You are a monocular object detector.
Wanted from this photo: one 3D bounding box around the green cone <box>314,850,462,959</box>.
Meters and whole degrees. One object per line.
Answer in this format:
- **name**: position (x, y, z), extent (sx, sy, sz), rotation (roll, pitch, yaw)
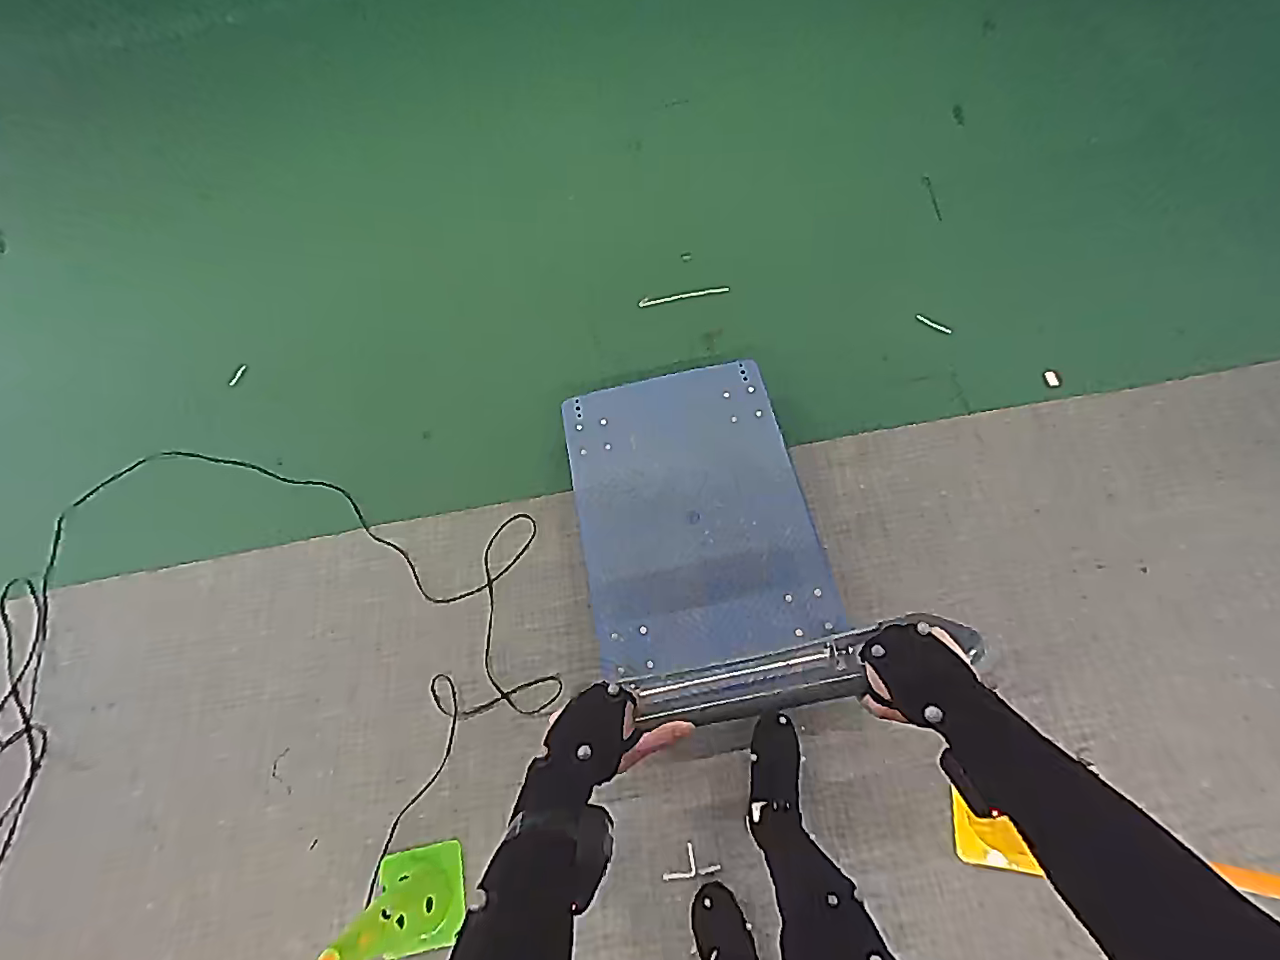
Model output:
- **green cone**: position (-0.528, 0.902, 1.072), extent (0.202, 0.368, 0.200), rotation (-15, 65, 1)
